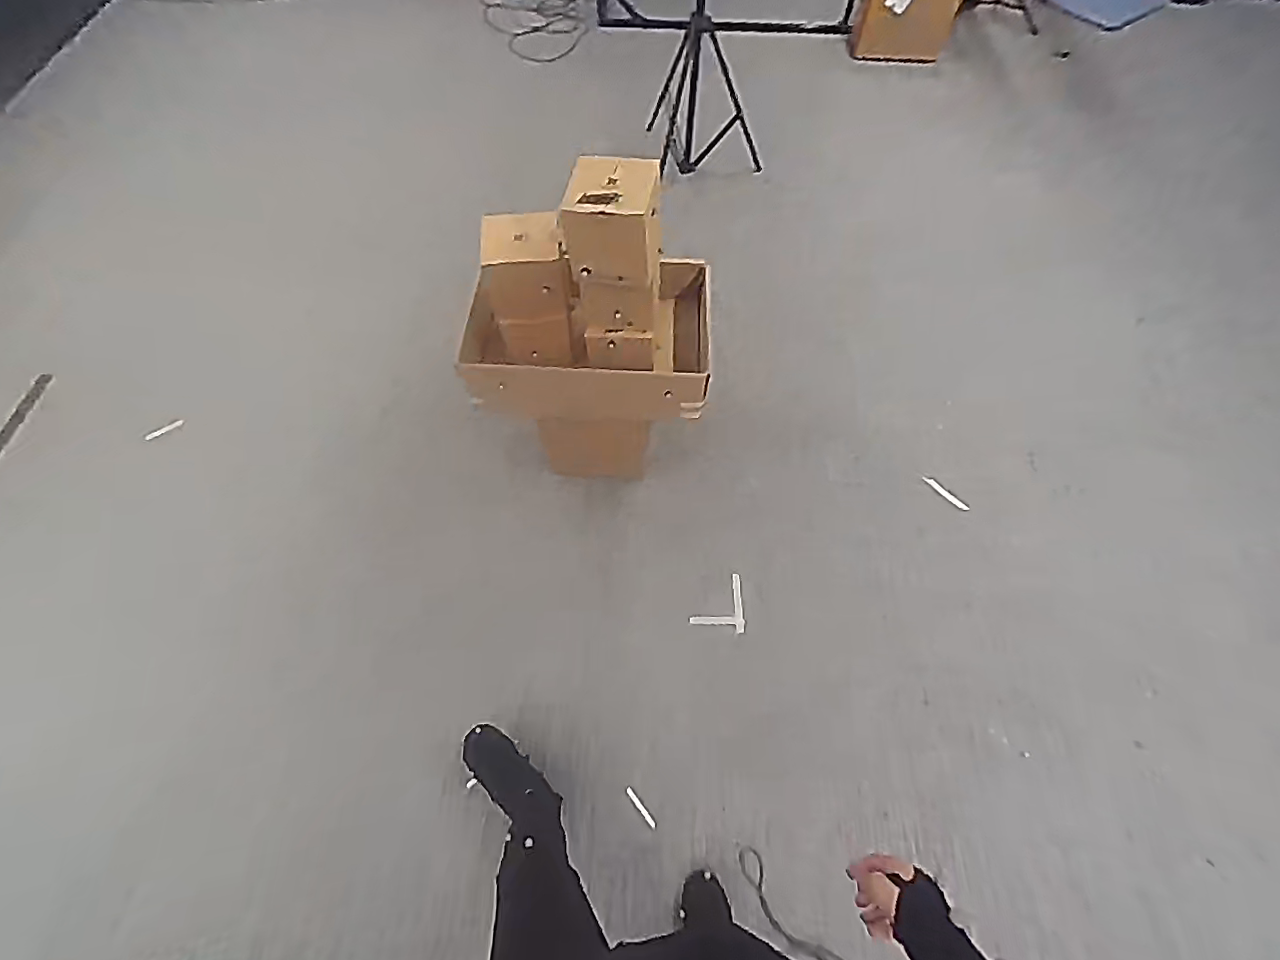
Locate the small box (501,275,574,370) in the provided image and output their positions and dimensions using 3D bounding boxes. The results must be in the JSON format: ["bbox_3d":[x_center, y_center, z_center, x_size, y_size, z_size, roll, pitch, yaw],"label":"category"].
[{"bbox_3d":[-0.263,-0.411,1.415,0.168,0.176,0.179,-4,62,-3],"label":"small box"}]

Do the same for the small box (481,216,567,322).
[{"bbox_3d":[-0.266,-0.493,1.273,0.179,0.176,0.168,-5,61,-4],"label":"small box"}]

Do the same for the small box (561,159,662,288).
[{"bbox_3d":[-0.048,-0.515,1.098,0.168,0.176,0.179,7,62,7],"label":"small box"}]
